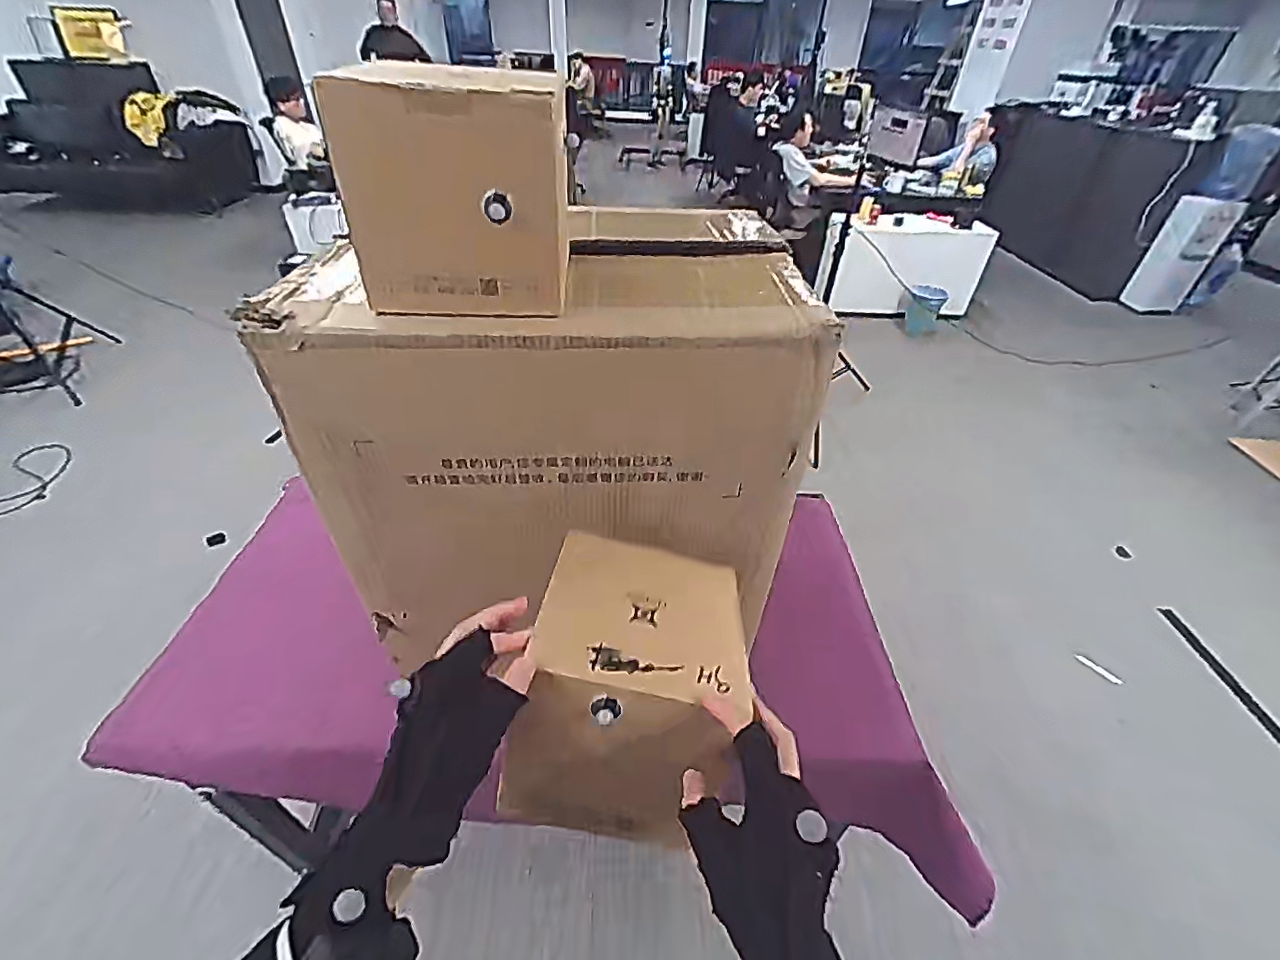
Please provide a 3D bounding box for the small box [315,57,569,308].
[{"bbox_3d":[-0.150,-0.265,0.485,0.168,0.176,0.179,0,39,-6],"label":"small box"}]
